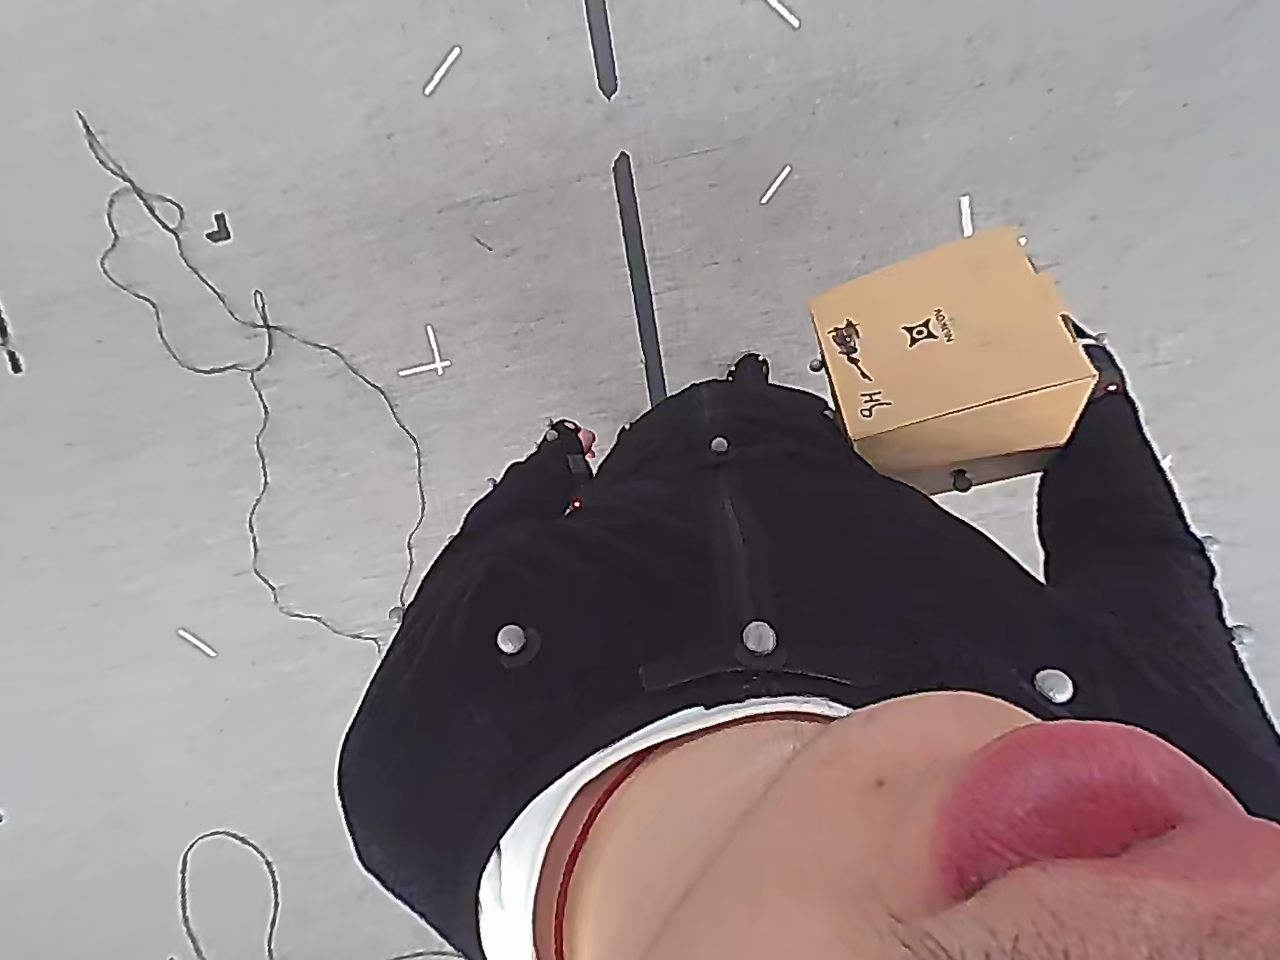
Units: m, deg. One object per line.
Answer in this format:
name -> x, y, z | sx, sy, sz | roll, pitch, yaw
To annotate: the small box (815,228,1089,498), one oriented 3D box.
small box -> 0.288, -0.100, 0.537 | 0.179, 0.176, 0.168 | -16, 60, 20
